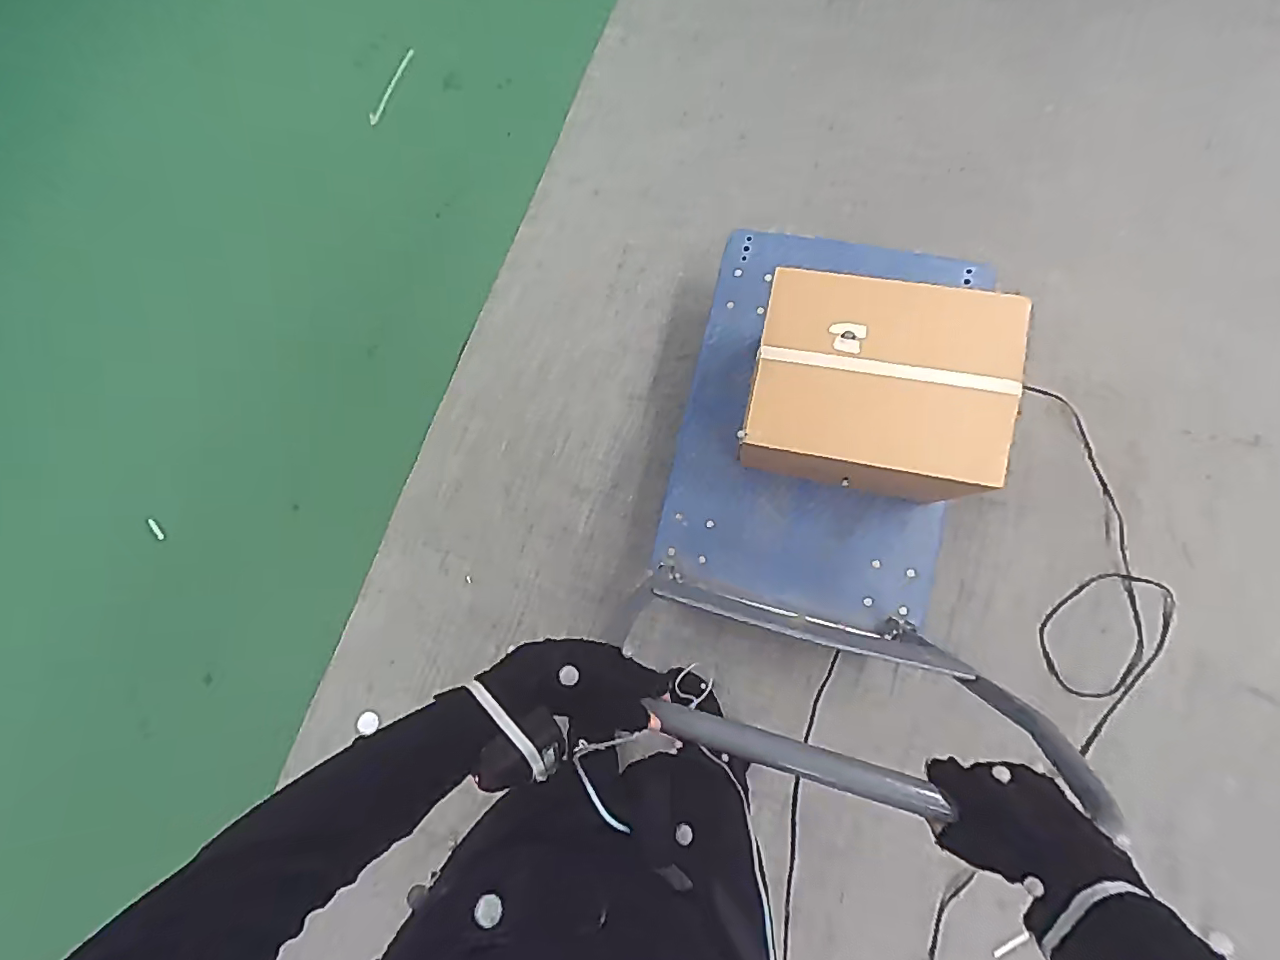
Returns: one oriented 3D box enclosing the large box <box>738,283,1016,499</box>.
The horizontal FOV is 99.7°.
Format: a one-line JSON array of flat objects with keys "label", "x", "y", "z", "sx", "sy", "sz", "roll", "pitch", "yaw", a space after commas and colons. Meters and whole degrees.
[{"label": "large box", "x": 0.417, "y": -0.151, "z": 1.042, "sx": 0.408, "sy": 0.320, "sz": 0.320, "roll": 10, "pitch": 85, "yaw": 11}]
